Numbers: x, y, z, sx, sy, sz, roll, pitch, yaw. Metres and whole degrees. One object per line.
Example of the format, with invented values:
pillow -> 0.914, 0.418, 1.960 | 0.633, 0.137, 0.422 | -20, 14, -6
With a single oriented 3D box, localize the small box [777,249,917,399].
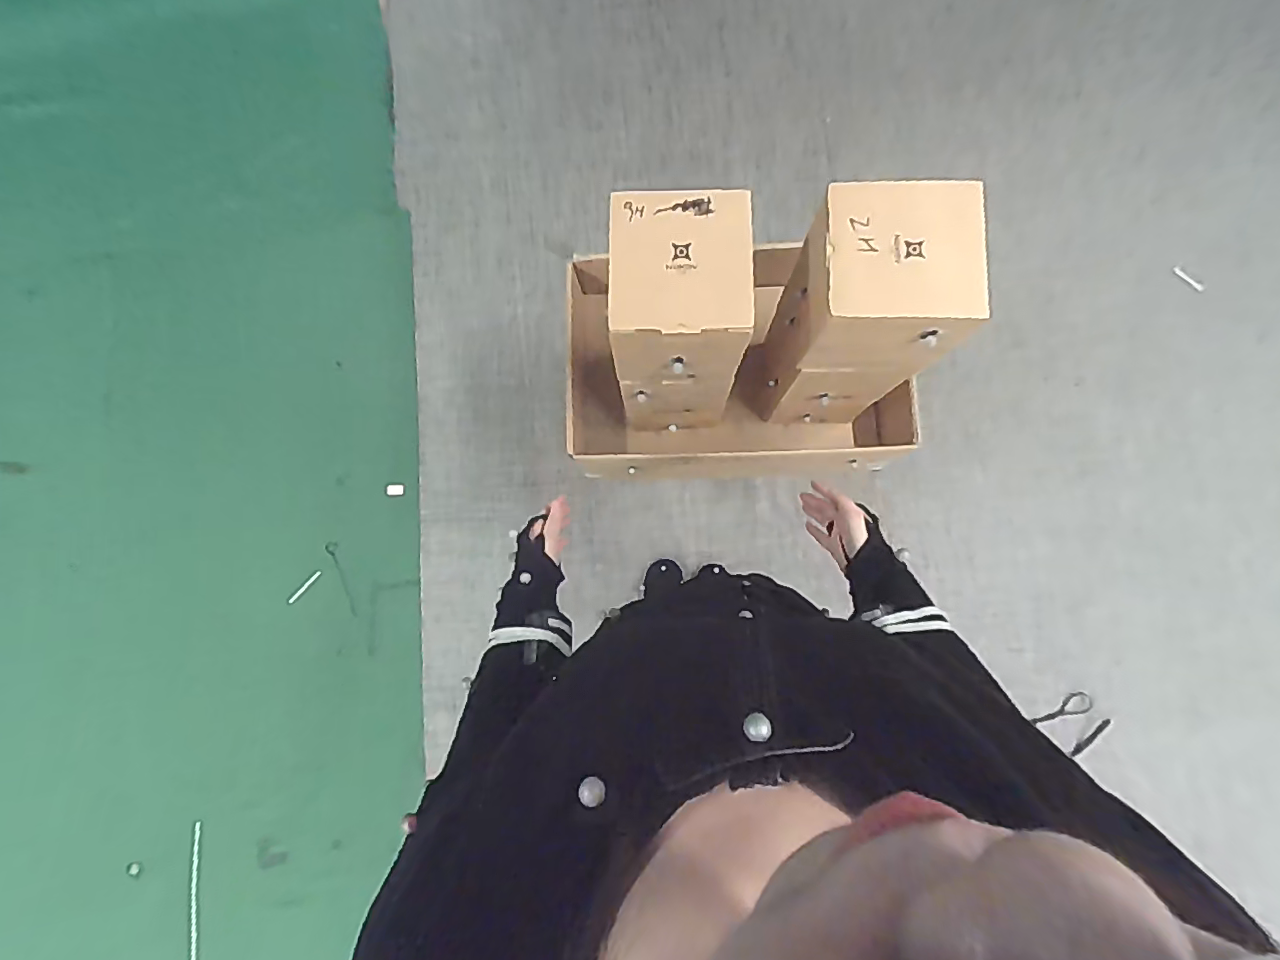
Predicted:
small box -> 0.311, -0.236, 0.845 | 0.168, 0.176, 0.179 | 0, 83, 4
